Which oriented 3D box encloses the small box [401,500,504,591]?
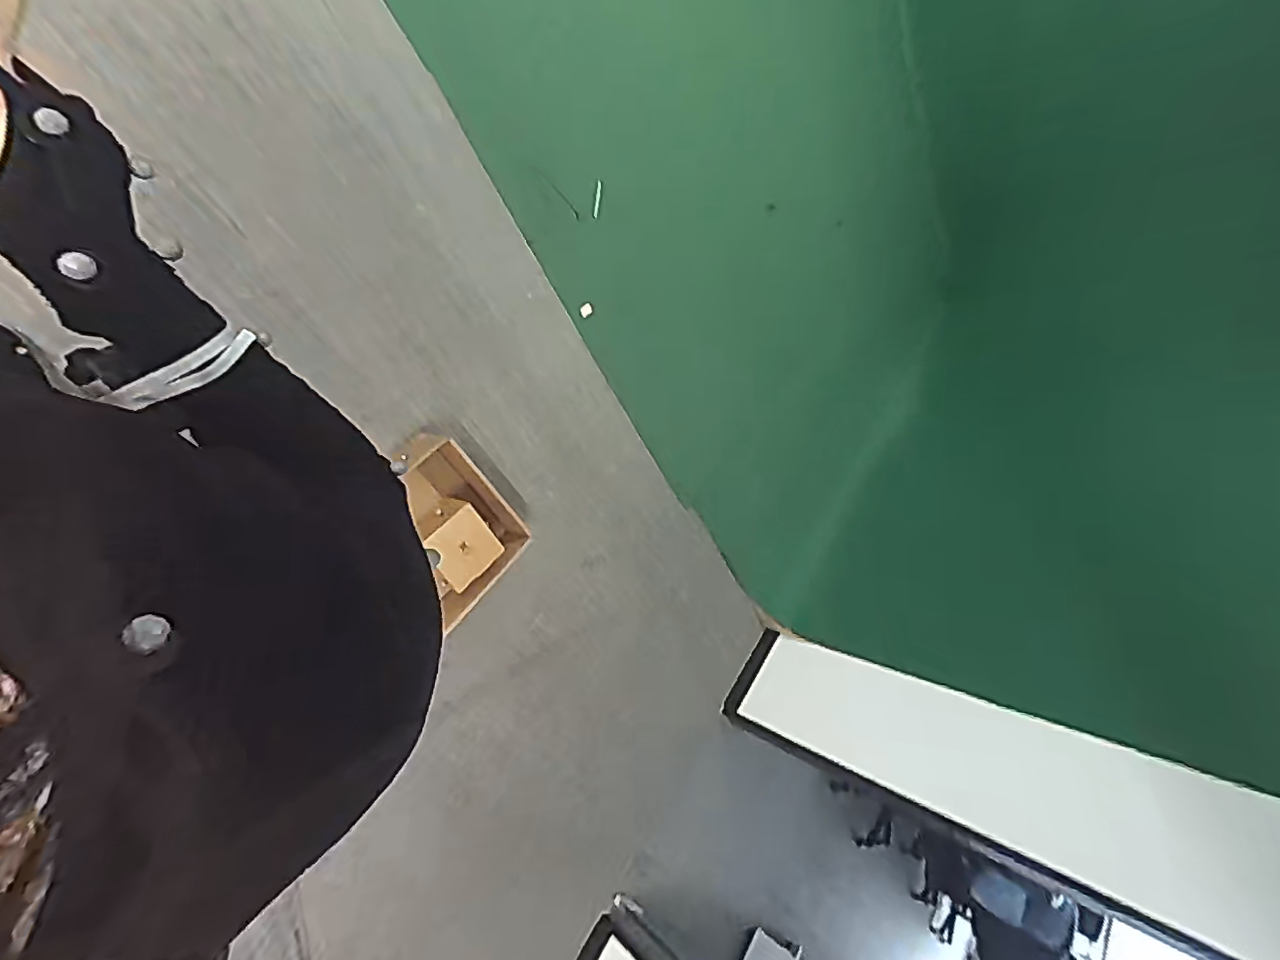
[{"bbox_3d":[-0.510,0.169,1.462,0.168,0.176,0.179,-46,123,-28],"label":"small box"}]
